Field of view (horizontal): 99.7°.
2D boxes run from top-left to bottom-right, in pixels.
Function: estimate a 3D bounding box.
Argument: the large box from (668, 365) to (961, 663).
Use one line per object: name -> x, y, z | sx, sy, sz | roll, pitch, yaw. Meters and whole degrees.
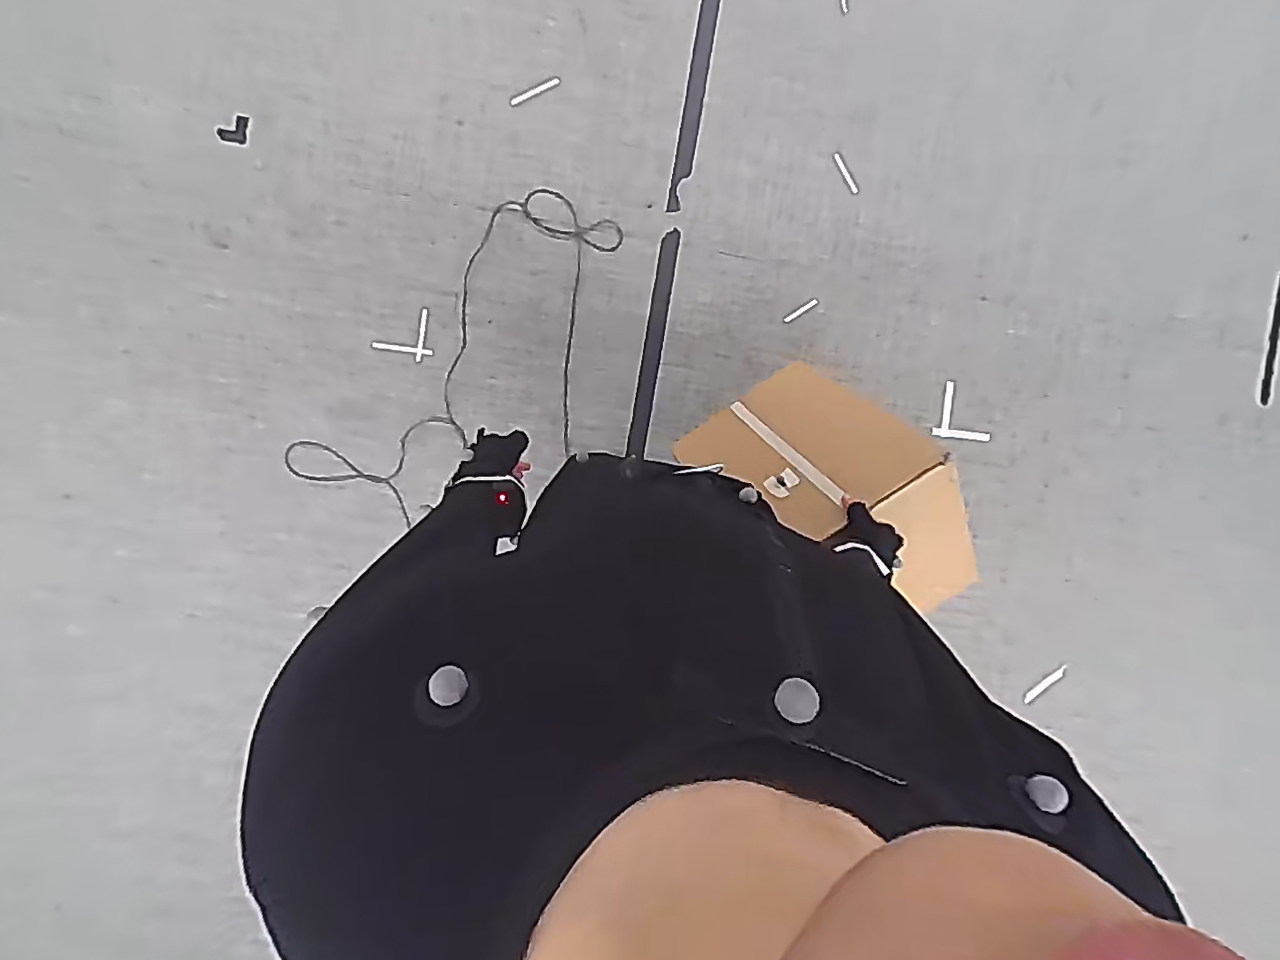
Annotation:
large box -> 0.311, 0.048, 1.018 | 0.320, 0.408, 0.320 | -35, 127, 2
